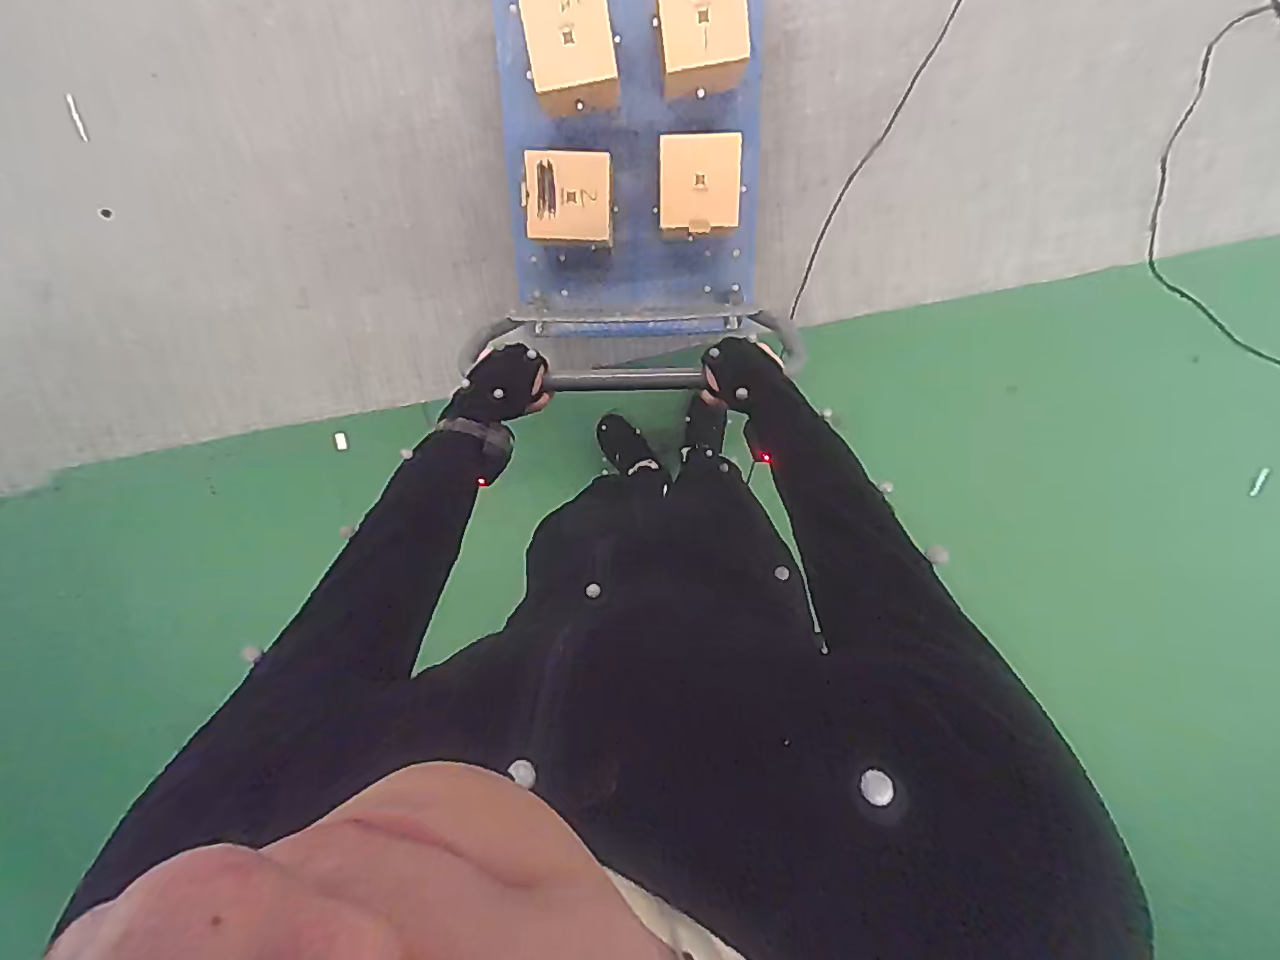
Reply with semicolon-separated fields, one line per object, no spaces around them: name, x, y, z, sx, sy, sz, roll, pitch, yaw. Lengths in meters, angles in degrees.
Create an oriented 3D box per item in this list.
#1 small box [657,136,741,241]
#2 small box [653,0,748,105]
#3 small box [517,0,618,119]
small box;0.122;-0.631;1.187;0.168;0.176;0.179;-1;108;1
small box;0.117;-0.903;1.099;0.168;0.176;0.179;-8;108;3
small box;-0.141;-0.870;1.111;0.168;0.176;0.179;-9;107;2
